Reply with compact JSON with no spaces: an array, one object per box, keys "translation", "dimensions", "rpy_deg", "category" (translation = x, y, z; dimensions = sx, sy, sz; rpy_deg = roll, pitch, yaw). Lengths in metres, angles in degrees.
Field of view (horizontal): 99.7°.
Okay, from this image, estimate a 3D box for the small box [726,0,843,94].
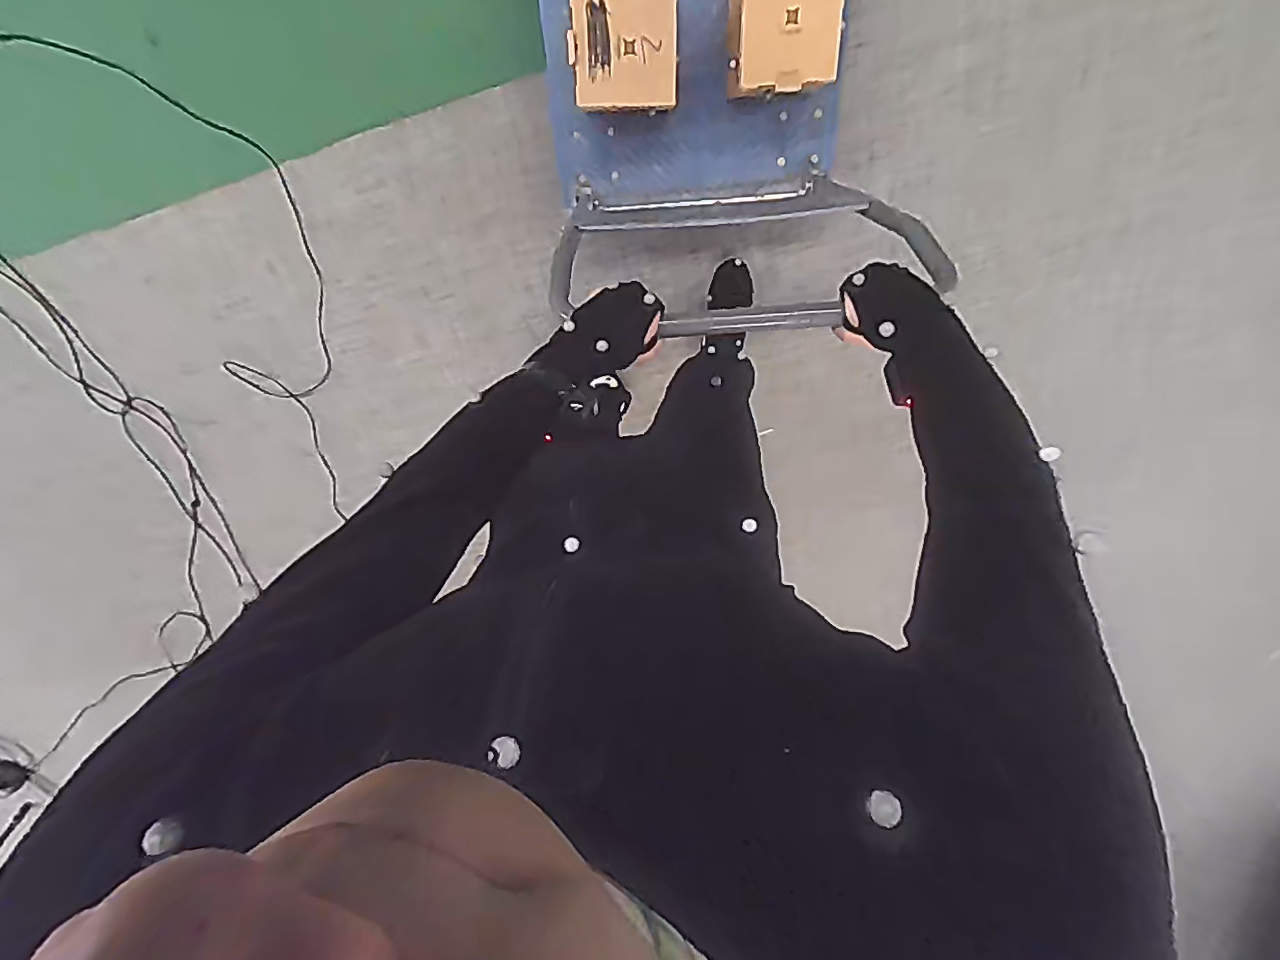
[{"translation":[0.246,-0.798,0.951],"dimensions":[0.168,0.176,0.179],"rpy_deg":[-4,123,2],"category":"small box"}]
